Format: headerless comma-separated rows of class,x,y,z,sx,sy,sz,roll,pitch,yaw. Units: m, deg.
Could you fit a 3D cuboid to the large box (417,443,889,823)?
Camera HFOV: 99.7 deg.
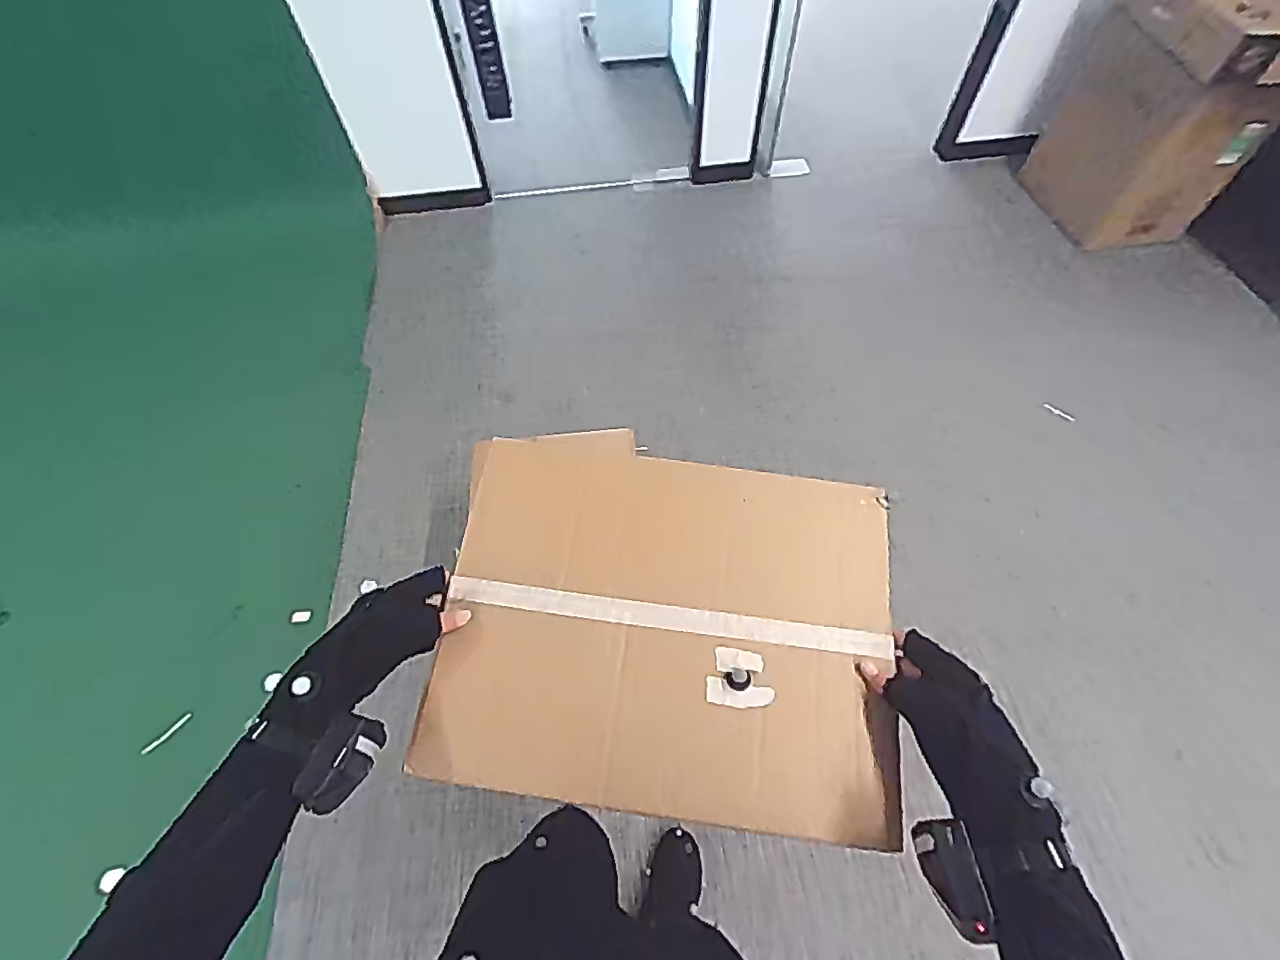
large box,0.019,0.180,0.641,0.408,0.320,0.320,8,67,1
